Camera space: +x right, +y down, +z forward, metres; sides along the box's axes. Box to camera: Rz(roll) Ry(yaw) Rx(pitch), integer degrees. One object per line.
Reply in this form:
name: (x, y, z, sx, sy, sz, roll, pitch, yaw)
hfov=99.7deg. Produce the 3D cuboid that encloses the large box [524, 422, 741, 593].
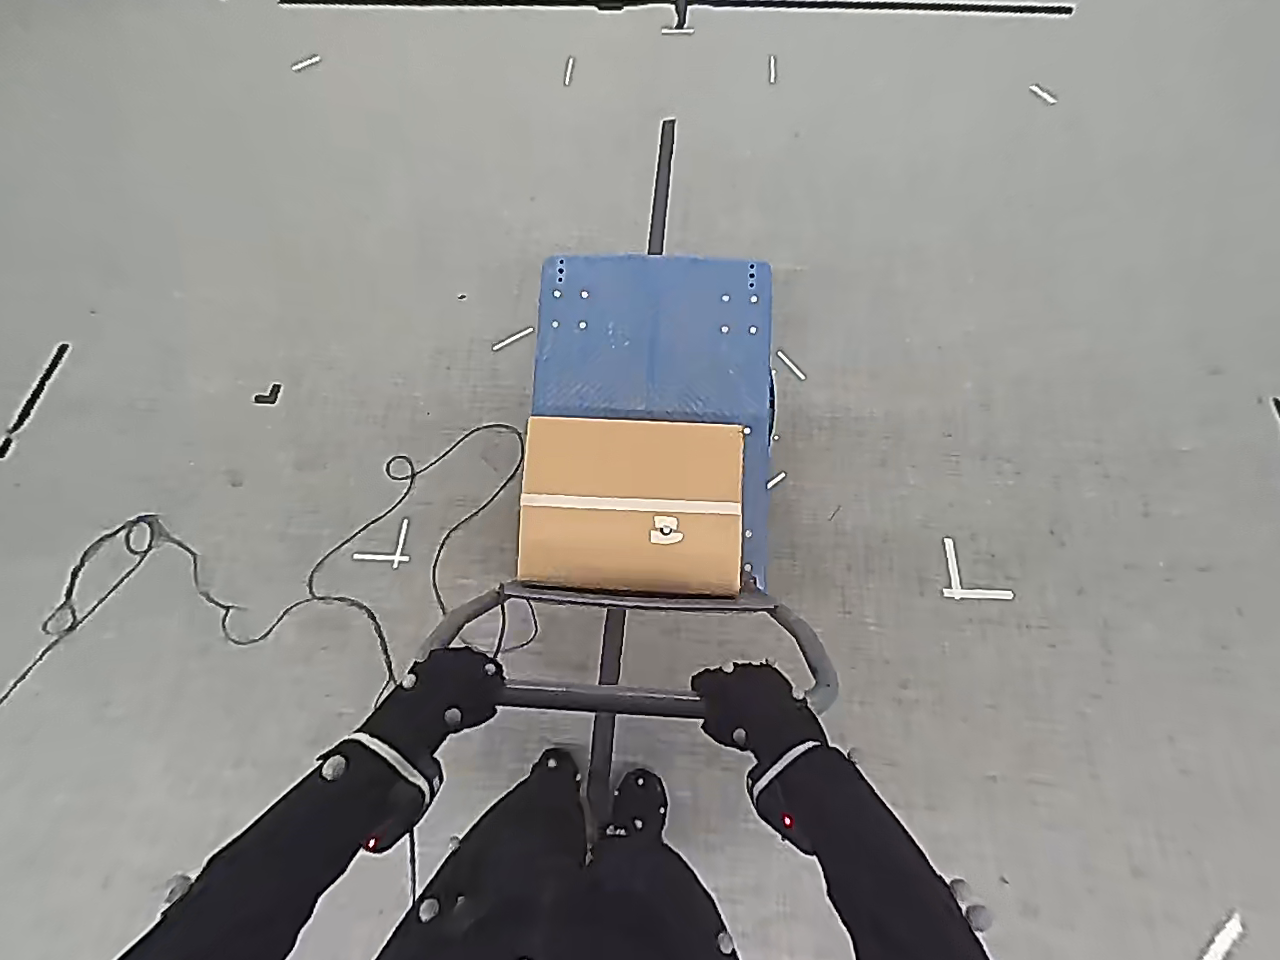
large box: (-0.011, 0.068, 1.159, 0.408, 0.320, 0.320, 3, 83, 1)
